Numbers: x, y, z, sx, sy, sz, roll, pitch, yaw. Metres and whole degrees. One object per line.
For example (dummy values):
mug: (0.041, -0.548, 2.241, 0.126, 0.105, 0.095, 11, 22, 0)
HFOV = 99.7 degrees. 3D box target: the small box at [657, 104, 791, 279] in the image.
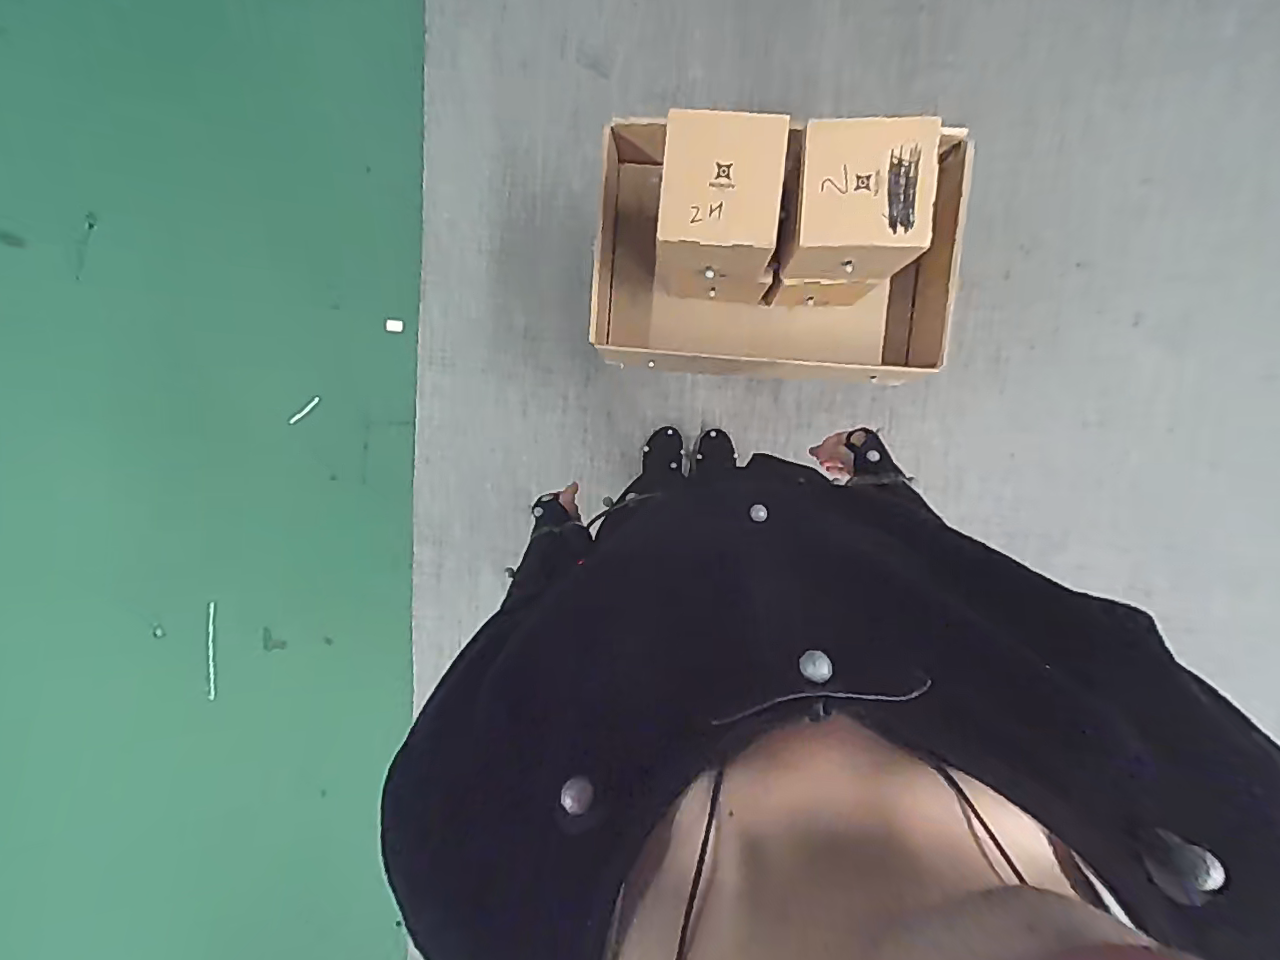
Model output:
small box: (0.117, -0.419, 0.809, 0.168, 0.176, 0.179, 6, 95, 4)
